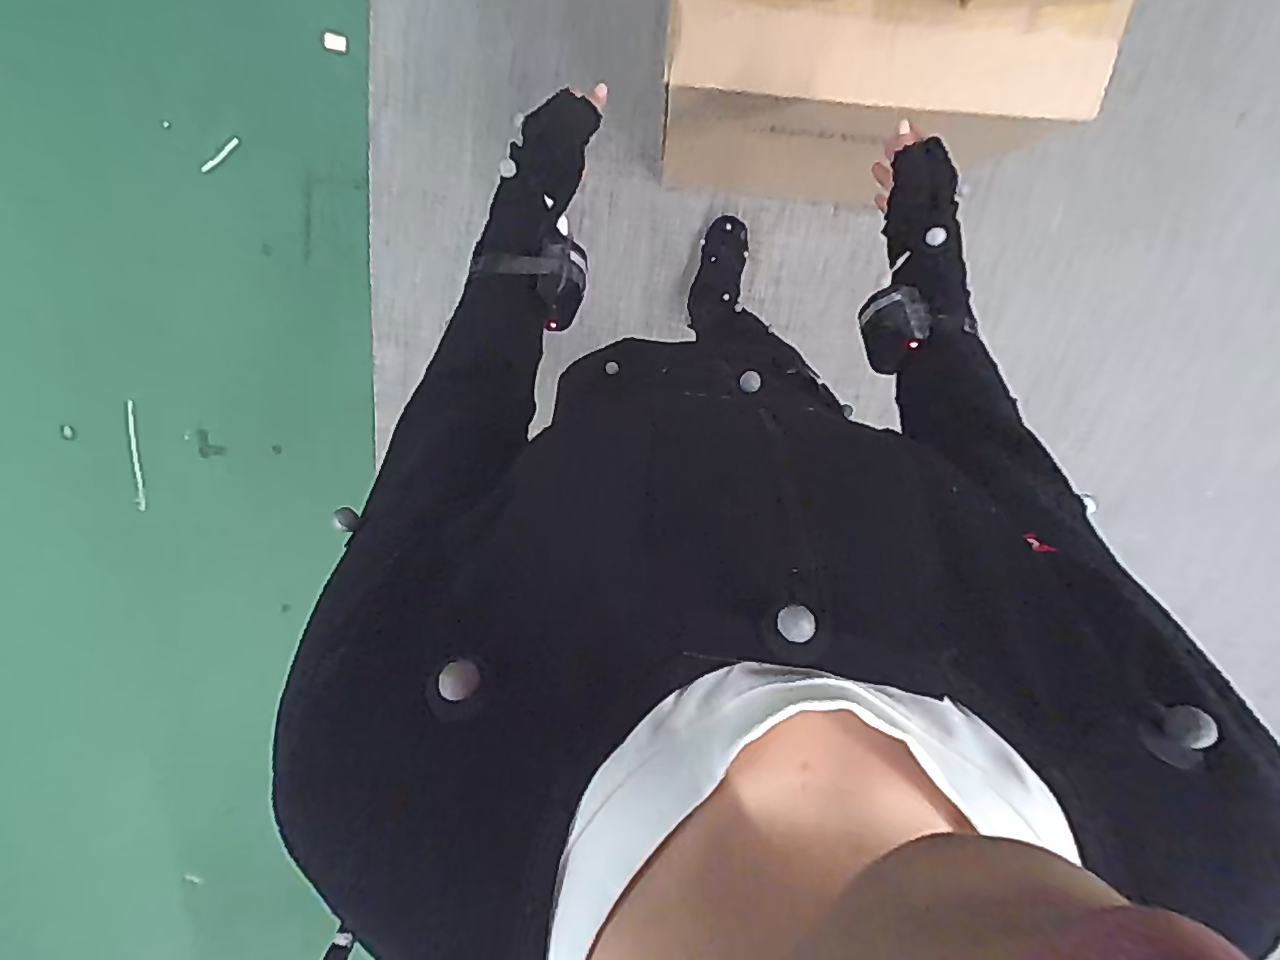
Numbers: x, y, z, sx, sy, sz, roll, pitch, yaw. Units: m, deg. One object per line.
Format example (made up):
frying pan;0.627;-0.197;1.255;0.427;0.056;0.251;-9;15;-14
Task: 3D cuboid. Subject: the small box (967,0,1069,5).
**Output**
small box;0.451;-0.595;0.516;0.179;0.176;0.168;-1;110;3
